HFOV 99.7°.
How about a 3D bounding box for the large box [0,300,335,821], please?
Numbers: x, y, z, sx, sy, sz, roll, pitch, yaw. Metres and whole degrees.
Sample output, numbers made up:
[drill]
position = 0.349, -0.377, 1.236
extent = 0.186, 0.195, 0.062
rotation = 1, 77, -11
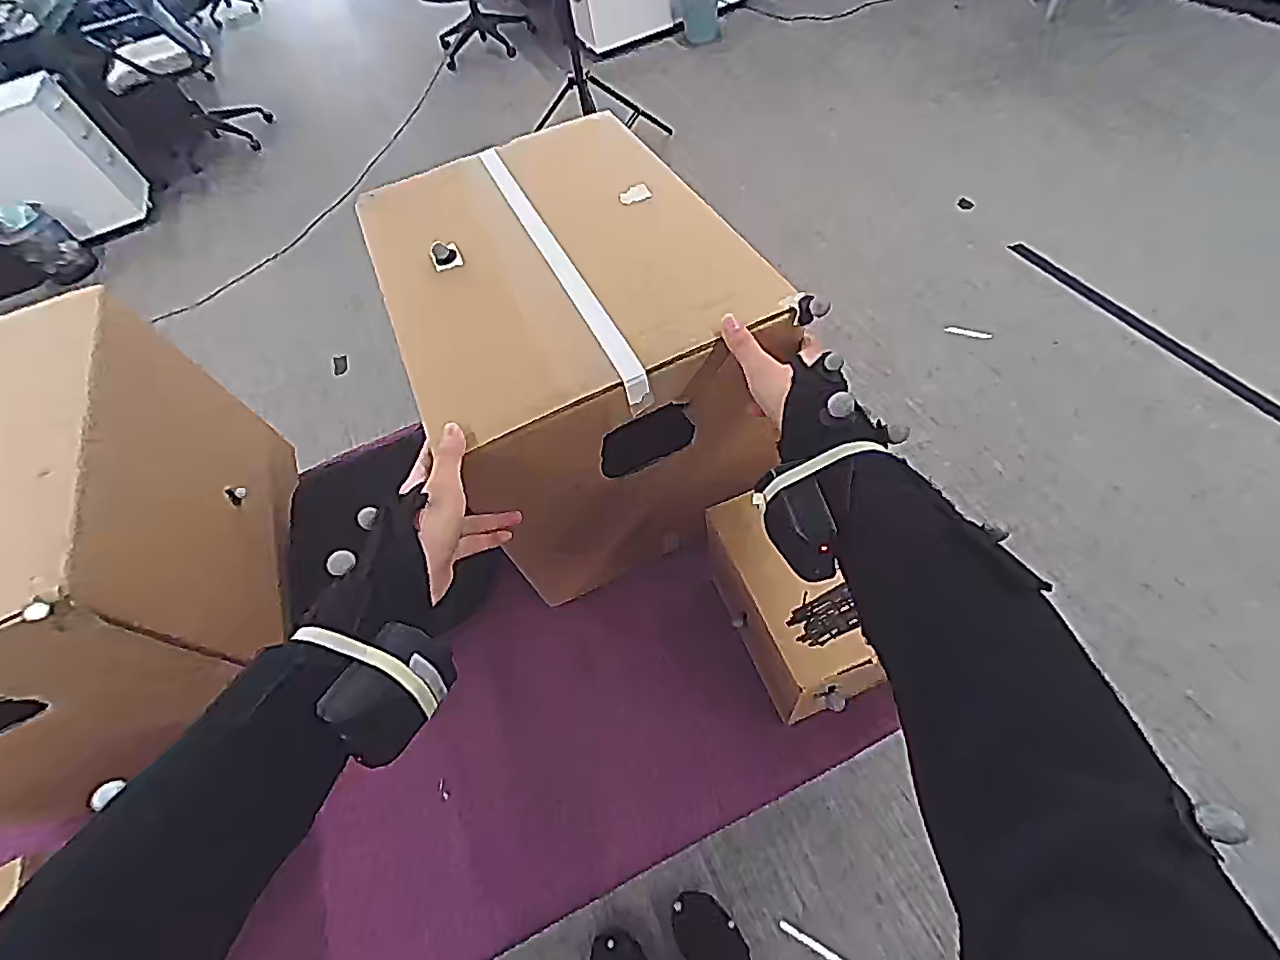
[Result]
[large box]
position = -0.598, 0.089, 0.591
extent = 0.320, 0.320, 0.408
rotation = -27, 60, -8
